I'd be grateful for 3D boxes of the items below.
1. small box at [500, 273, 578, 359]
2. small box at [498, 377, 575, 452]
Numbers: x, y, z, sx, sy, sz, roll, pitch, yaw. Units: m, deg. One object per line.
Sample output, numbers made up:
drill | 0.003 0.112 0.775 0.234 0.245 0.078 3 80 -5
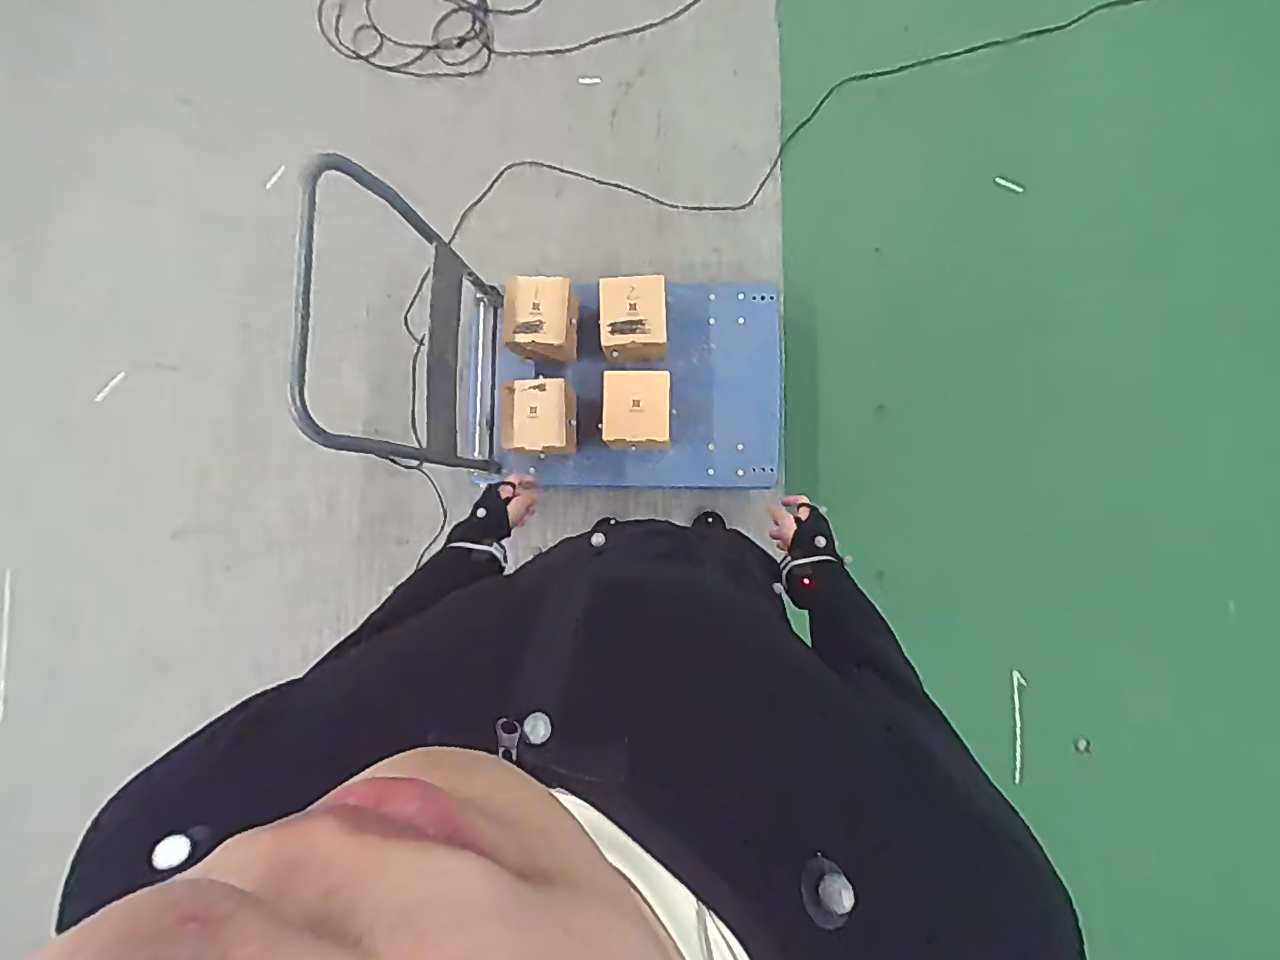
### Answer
small box | -0.261 -0.428 1.437 0.168 0.176 0.179 3 87 3
small box | -0.266 -0.165 1.422 0.168 0.176 0.179 -1 87 4
